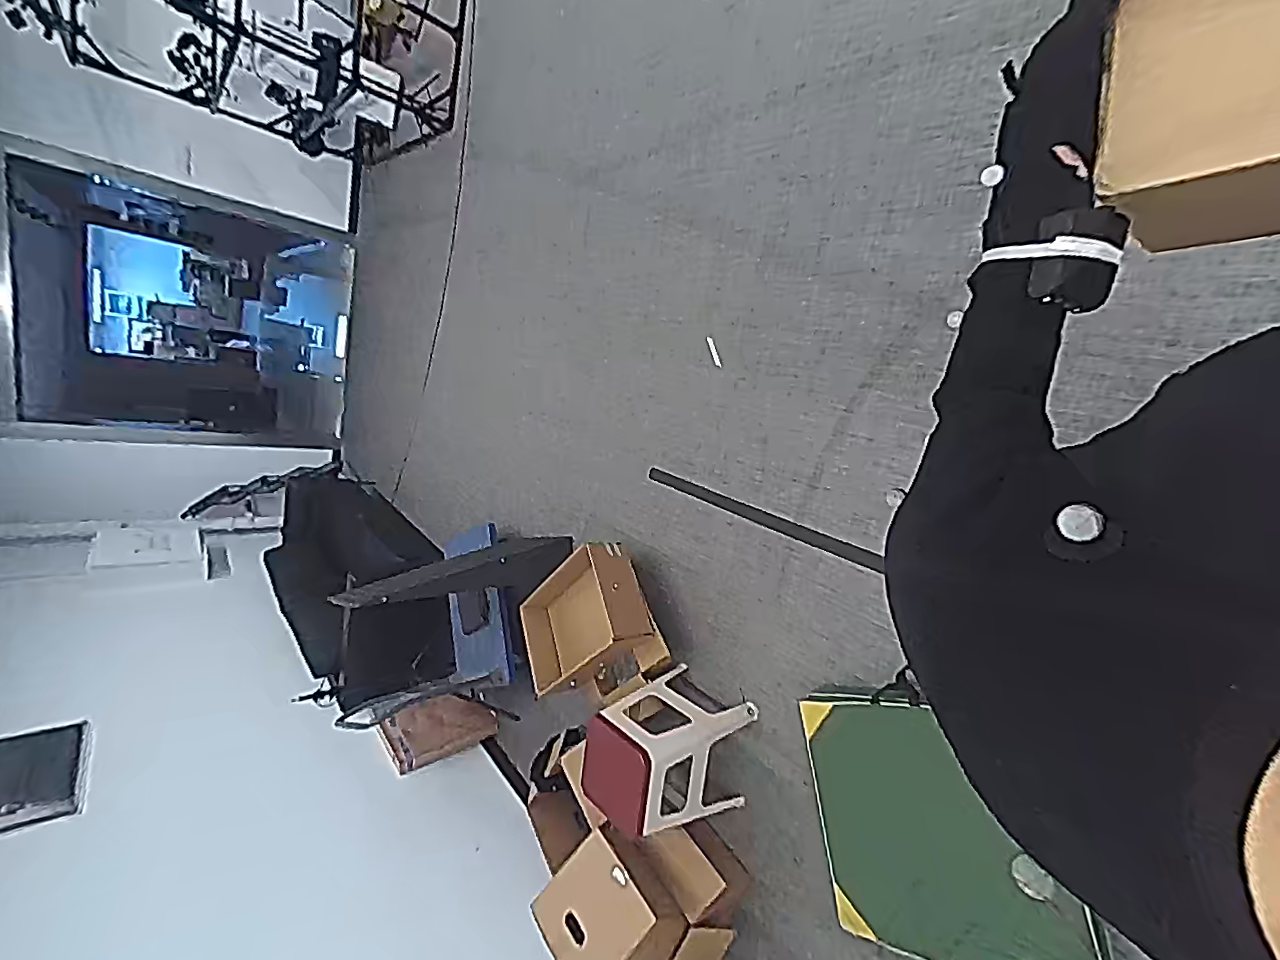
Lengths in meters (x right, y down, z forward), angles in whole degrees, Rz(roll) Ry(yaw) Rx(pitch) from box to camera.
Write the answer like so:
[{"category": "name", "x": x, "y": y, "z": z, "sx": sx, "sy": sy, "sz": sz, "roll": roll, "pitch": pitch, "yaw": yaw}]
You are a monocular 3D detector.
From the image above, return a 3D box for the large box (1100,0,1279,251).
[{"category": "large box", "x": 0.588, "y": -0.368, "z": 0.345, "sx": 0.408, "sy": 0.320, "sz": 0.320, "roll": 9, "pitch": 105, "yaw": 47}]
